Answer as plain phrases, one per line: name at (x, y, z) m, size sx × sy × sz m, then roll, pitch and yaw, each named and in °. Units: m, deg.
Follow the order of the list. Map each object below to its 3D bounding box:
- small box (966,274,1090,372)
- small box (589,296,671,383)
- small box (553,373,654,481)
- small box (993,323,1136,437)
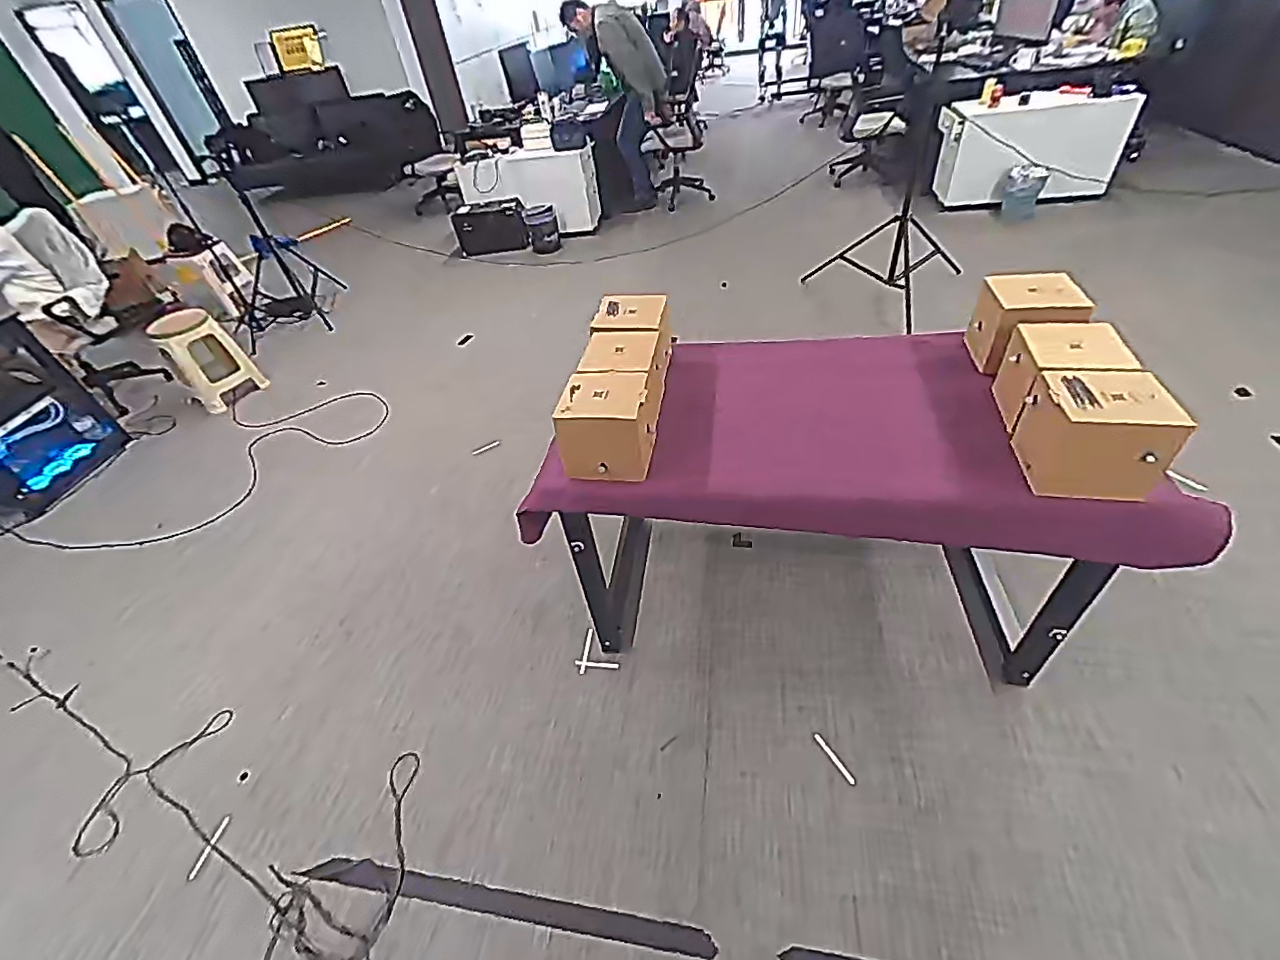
small box at (0.889, -0.362, 1.264) m, size 0.179 × 0.176 × 0.168 m, roll 3°, pitch 45°, yaw 11°
small box at (-0.019, -0.368, 1.427) m, size 0.179 × 0.176 × 0.168 m, roll 4°, pitch 46°, yaw 12°
small box at (-0.069, -0.114, 1.167) m, size 0.179 × 0.176 × 0.168 m, roll 3°, pitch 43°, yaw 11°
small box at (0.855, -0.204, 1.110) m, size 0.168 × 0.176 × 0.179 m, roll 4°, pitch 43°, yaw 15°
